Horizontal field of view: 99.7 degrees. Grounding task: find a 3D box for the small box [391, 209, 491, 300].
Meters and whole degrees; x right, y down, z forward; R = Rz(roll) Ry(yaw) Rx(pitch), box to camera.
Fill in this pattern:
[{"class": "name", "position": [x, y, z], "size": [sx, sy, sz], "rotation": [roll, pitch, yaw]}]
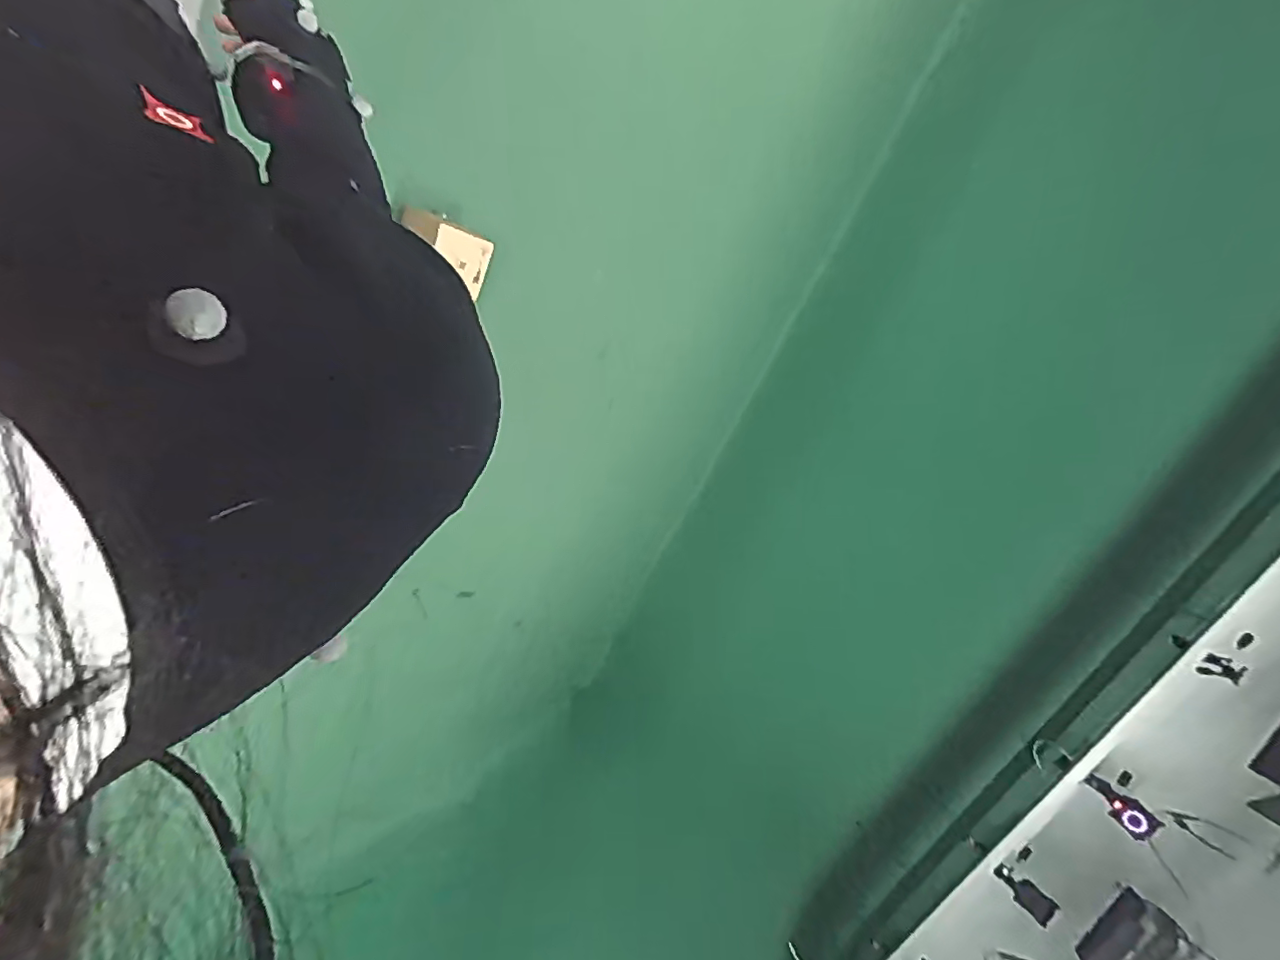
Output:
[{"class": "small box", "position": [-0.551, -0.621, 1.485], "size": [0.179, 0.176, 0.168], "rotation": [-2, 124, -56]}]
